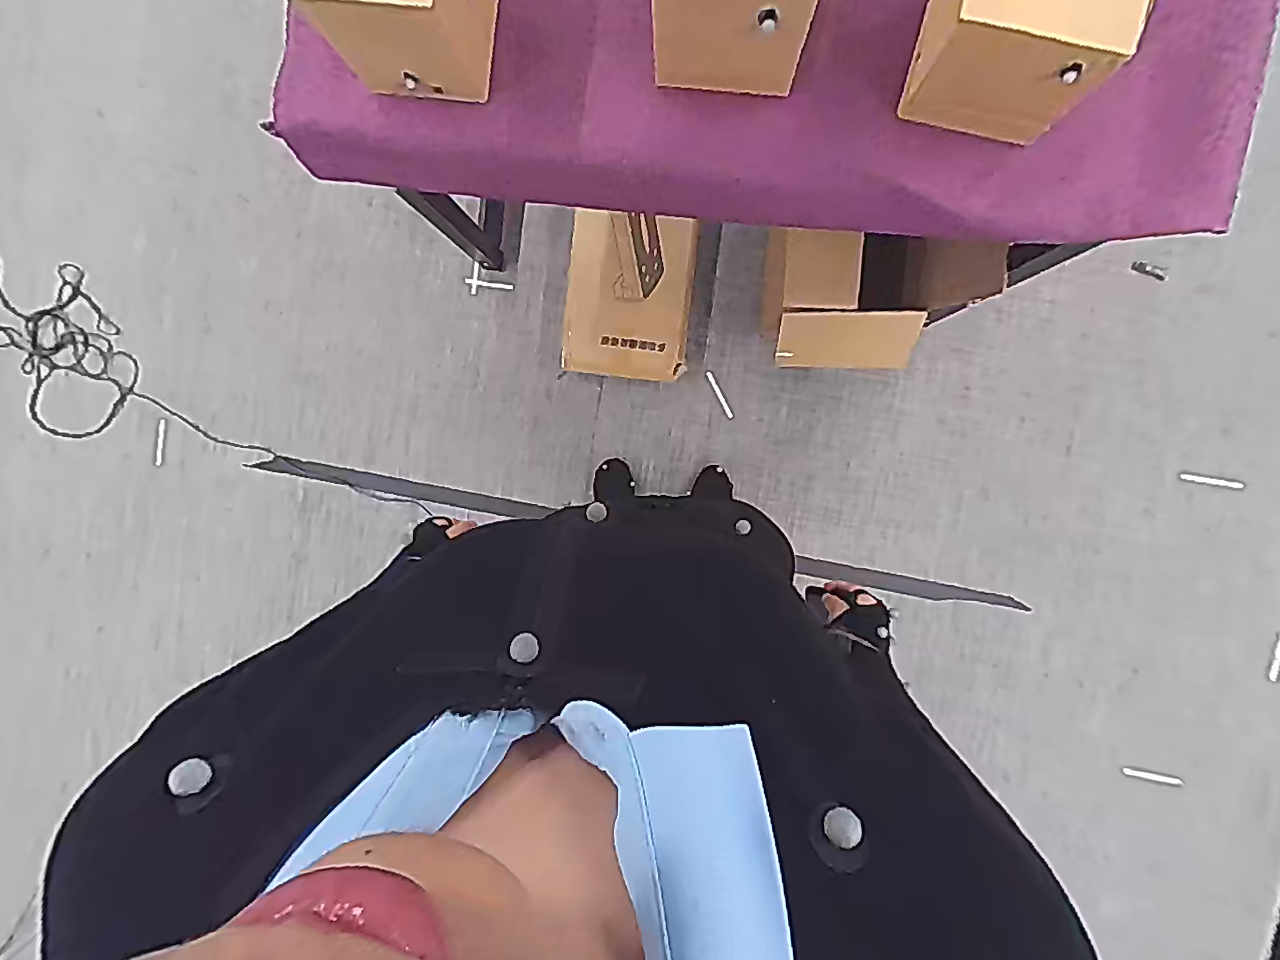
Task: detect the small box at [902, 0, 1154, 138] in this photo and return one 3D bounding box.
[{"bbox_3d":[0.424,-0.519,0.601,0.179,0.176,0.168,15,95,3],"label":"small box"}]

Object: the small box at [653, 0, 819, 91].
[{"bbox_3d":[0.112,-0.584,0.617,0.179,0.176,0.168,7,92,4],"label":"small box"}]
